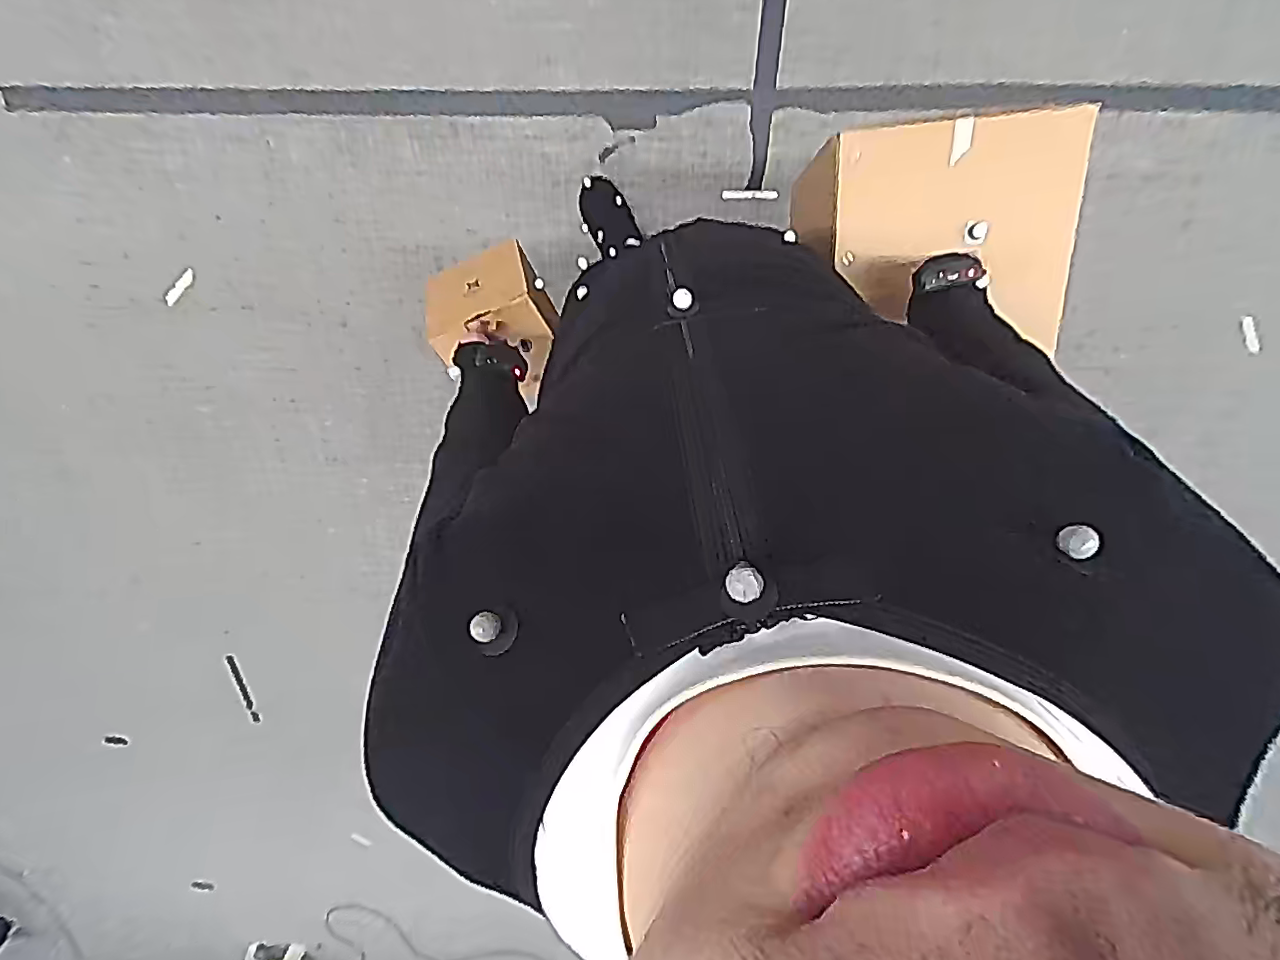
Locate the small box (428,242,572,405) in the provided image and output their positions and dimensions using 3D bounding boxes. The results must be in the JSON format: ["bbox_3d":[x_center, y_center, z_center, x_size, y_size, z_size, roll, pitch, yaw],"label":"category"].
[{"bbox_3d":[-0.226,-0.246,0.890,0.168,0.179,0.176,-23,141,6],"label":"small box"}]
